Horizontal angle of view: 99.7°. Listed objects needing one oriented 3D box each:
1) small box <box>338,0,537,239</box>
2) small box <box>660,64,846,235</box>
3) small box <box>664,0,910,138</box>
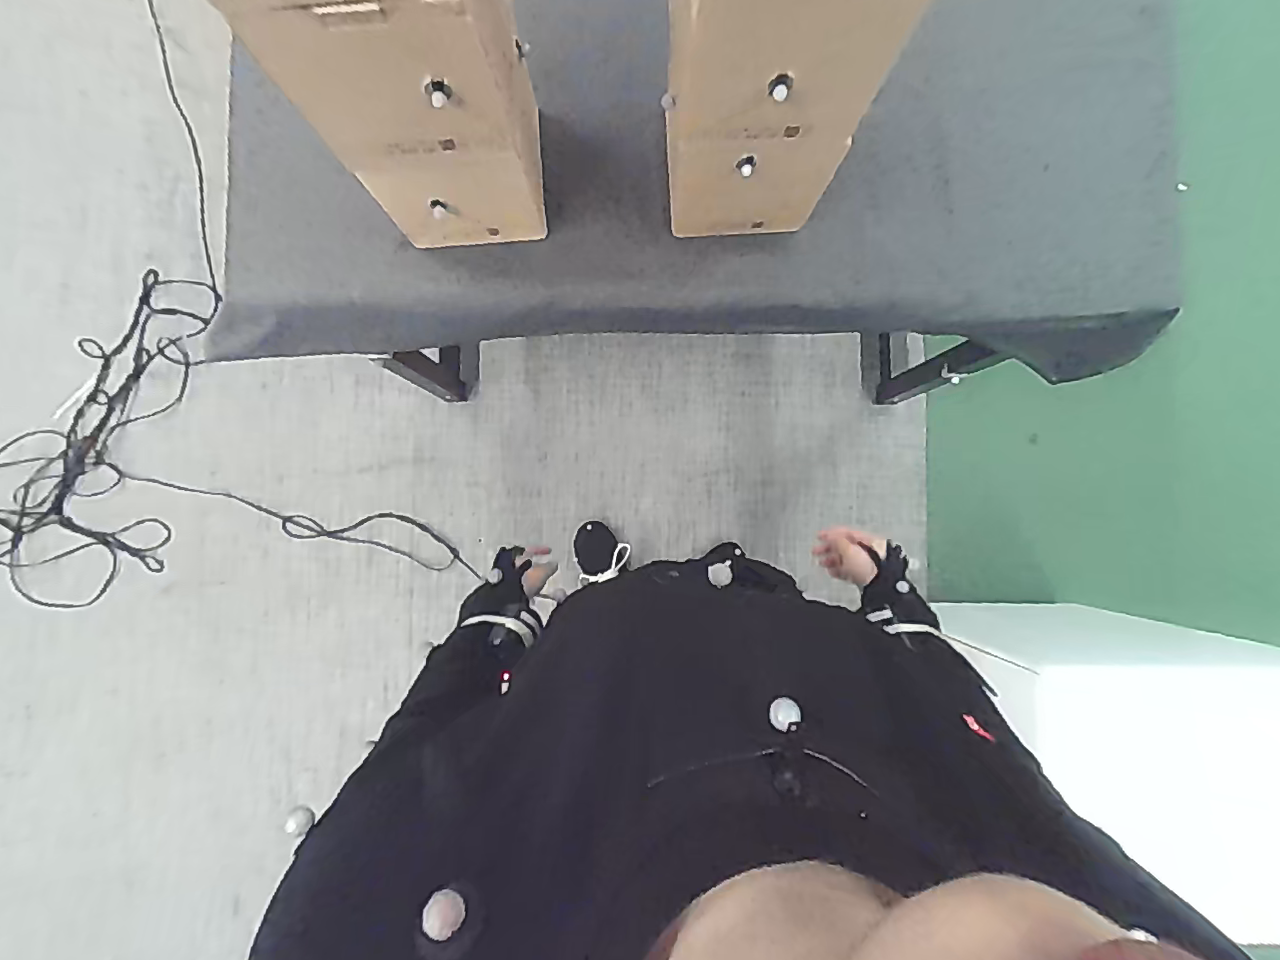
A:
[{"bbox_3d":[-0.212,-0.385,0.597,0.168,0.176,0.179,-5,87,-2],"label":"small box"},{"bbox_3d":[0.112,-0.403,0.607,0.168,0.176,0.179,-3,86,-1],"label":"small box"},{"bbox_3d":[0.110,-0.410,0.441,0.168,0.176,0.179,-3,87,-2],"label":"small box"}]
